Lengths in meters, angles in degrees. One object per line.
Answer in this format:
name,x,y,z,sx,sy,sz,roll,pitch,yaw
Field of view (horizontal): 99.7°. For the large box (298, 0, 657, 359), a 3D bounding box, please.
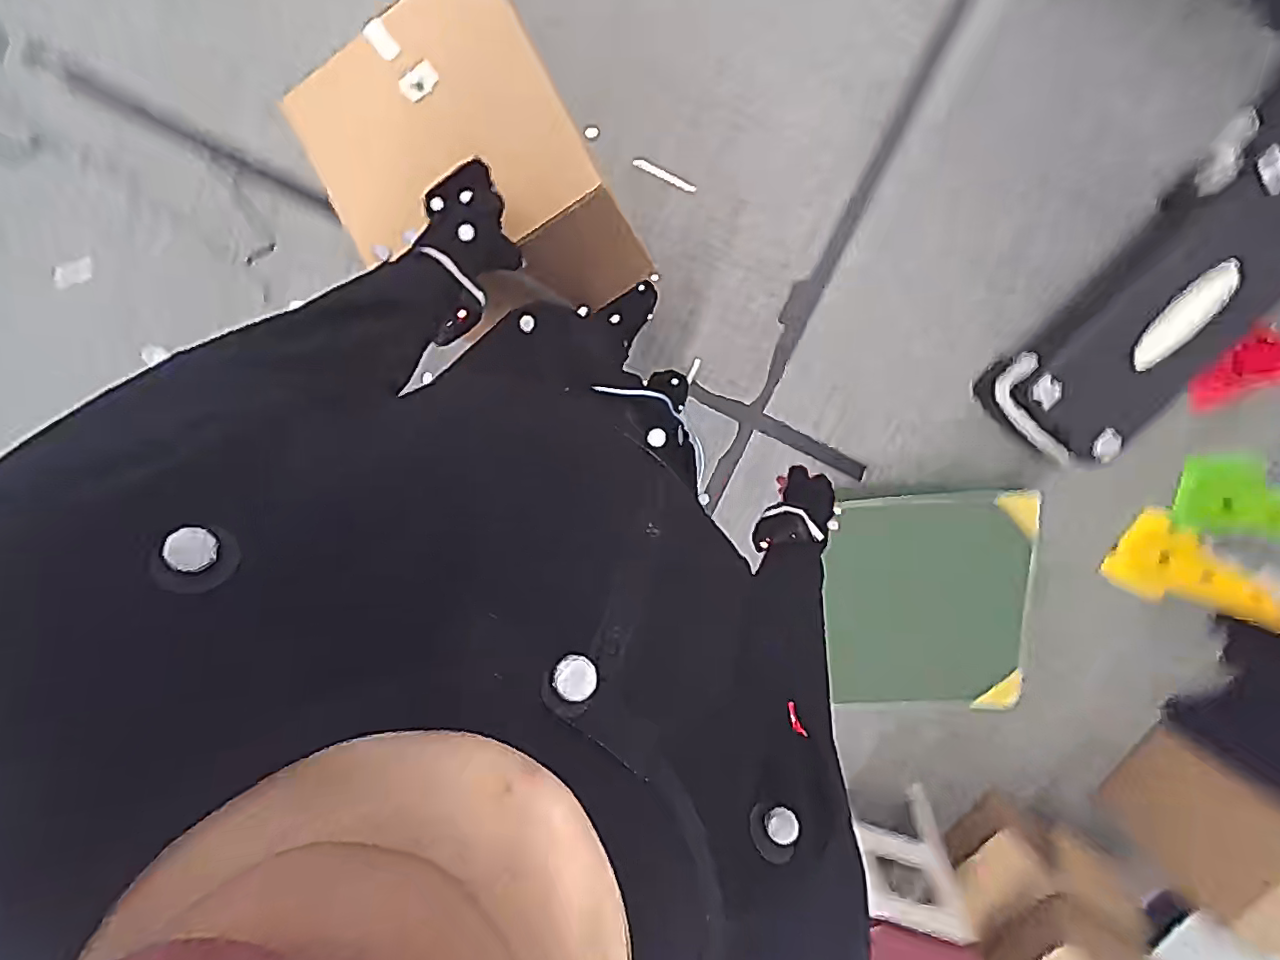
large box,-0.209,-0.414,0.852,0.320,0.408,0.320,-28,92,14
